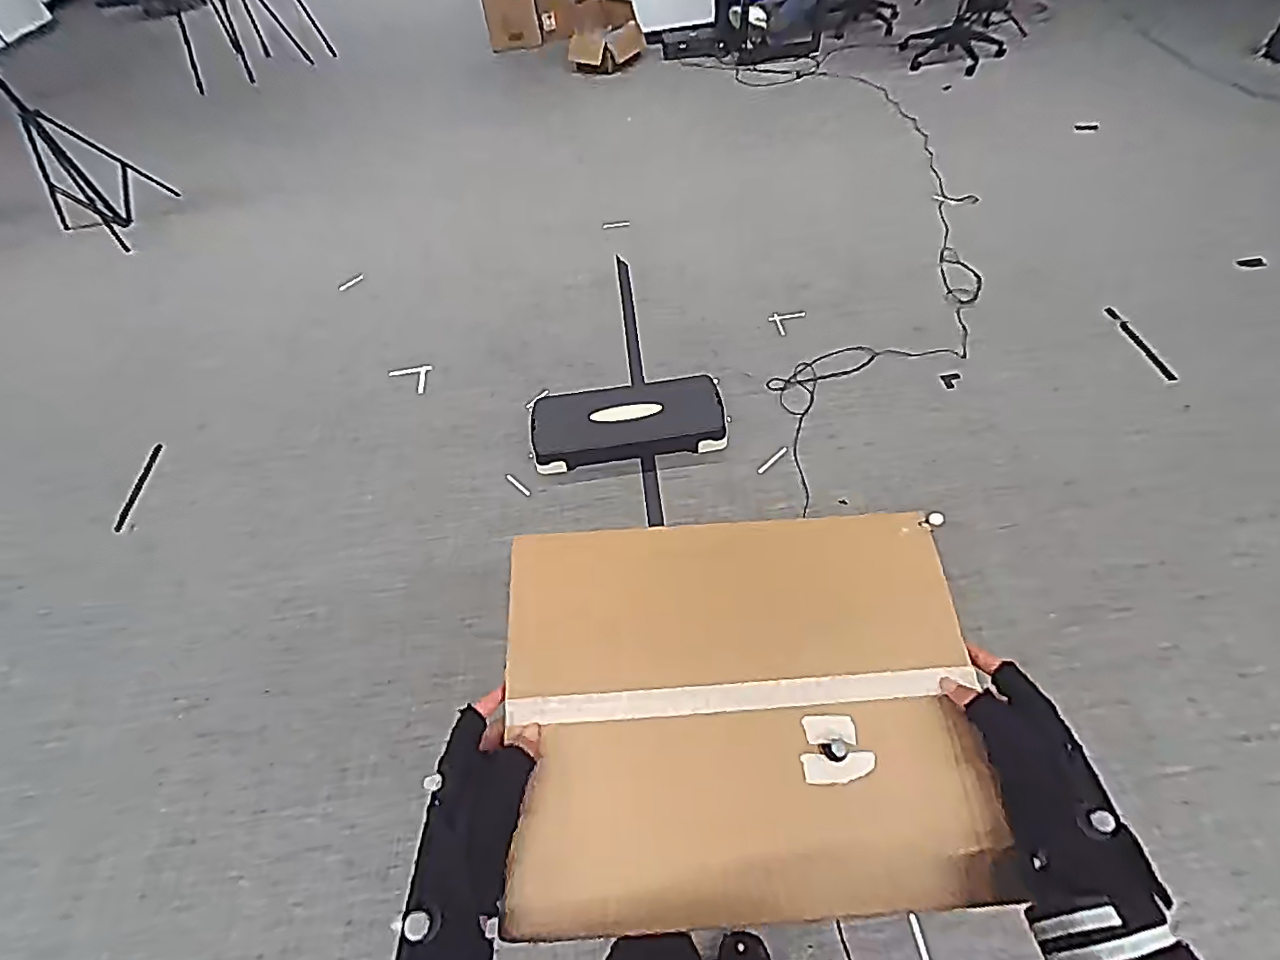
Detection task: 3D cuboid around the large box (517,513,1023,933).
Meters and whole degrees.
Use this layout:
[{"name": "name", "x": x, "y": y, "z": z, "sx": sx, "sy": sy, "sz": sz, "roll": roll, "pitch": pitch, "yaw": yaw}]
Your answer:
[{"name": "large box", "x": 0.089, "y": 0.250, "z": 0.610, "sx": 0.408, "sy": 0.320, "sz": 0.320, "roll": -4, "pitch": 65, "yaw": -2}]
